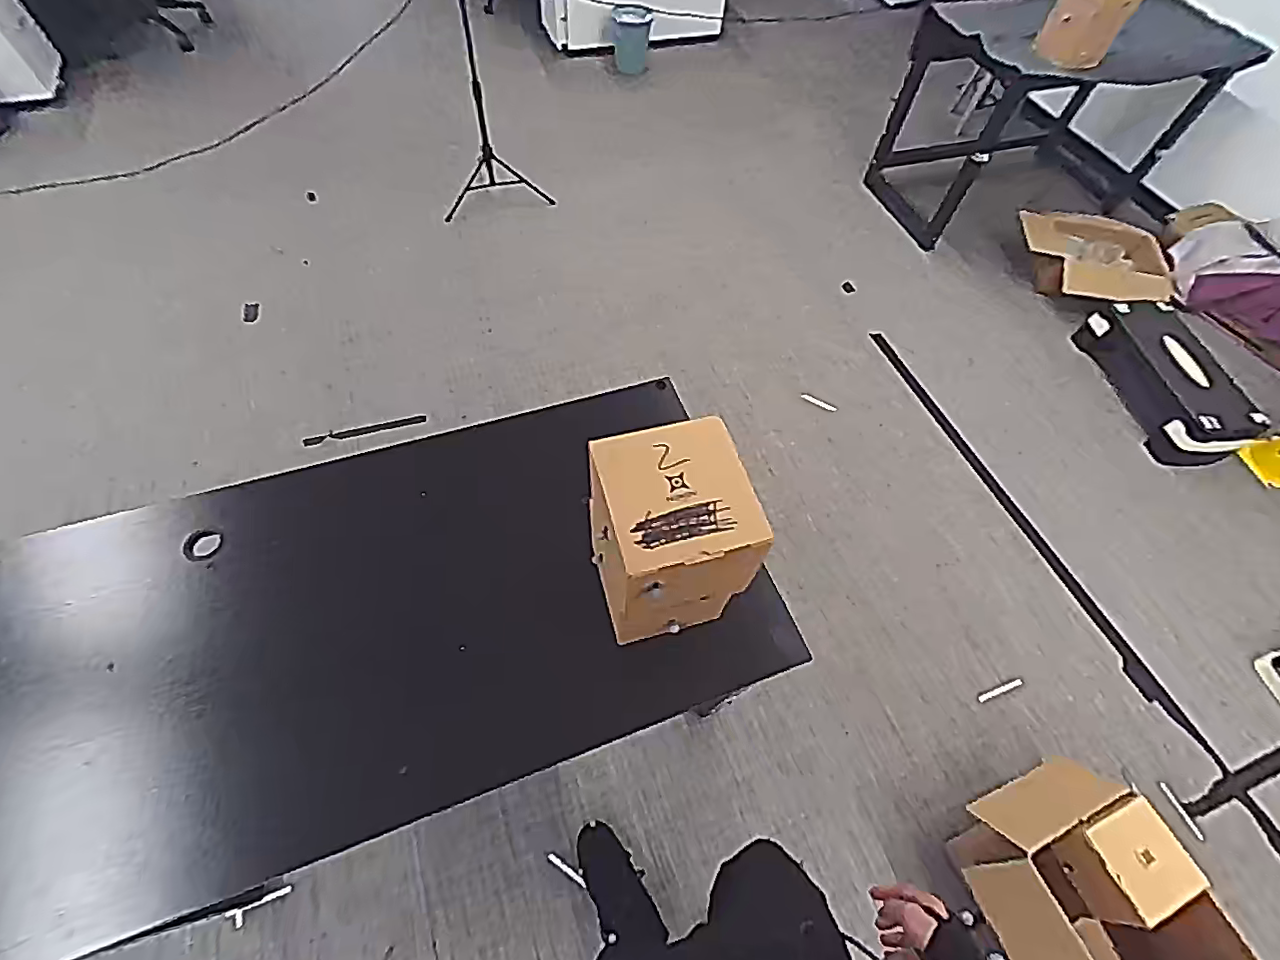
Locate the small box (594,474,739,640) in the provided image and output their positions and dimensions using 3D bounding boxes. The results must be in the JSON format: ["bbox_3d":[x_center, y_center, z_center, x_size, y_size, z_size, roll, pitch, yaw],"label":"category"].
[{"bbox_3d":[0.028,0.119,0.811,0.168,0.176,0.179,-13,61,-10],"label":"small box"}]
